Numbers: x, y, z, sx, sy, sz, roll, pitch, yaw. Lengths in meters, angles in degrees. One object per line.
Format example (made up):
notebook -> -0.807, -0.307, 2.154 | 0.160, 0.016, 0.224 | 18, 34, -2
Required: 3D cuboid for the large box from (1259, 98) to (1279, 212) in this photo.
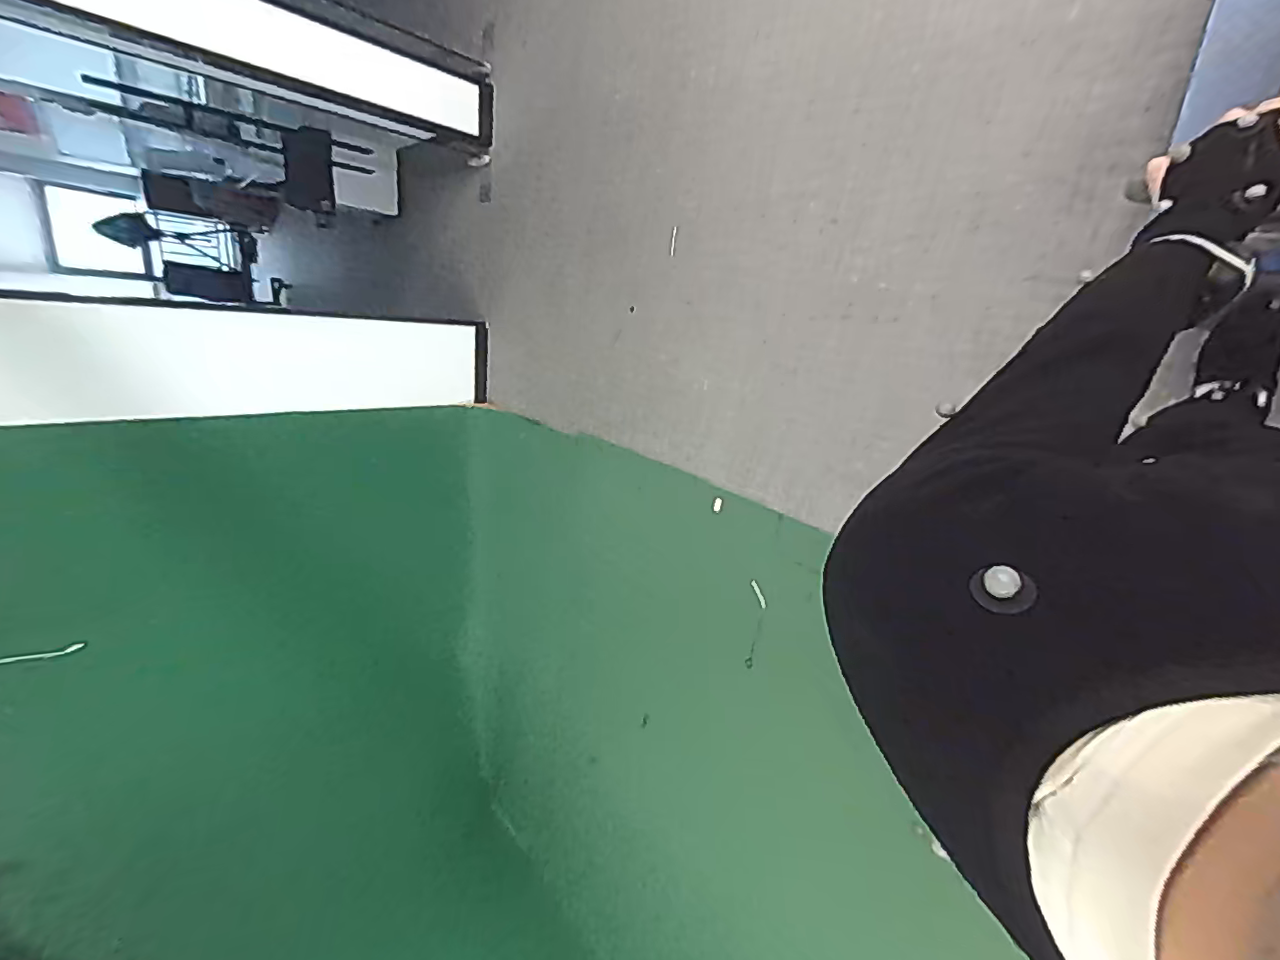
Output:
large box -> 1.080, -0.603, 0.685 | 0.320, 0.320, 0.408 | 20, 111, 43
